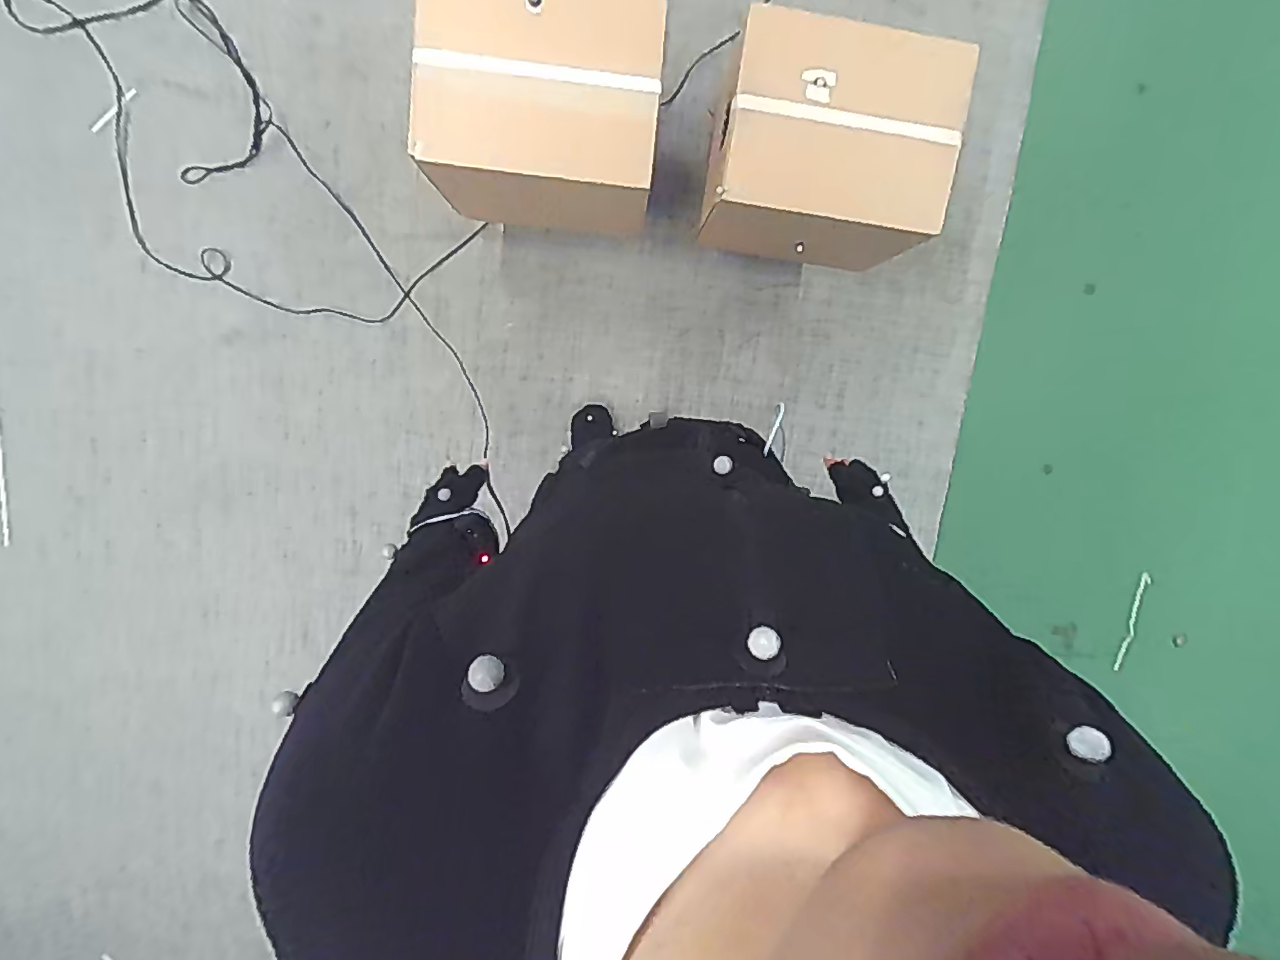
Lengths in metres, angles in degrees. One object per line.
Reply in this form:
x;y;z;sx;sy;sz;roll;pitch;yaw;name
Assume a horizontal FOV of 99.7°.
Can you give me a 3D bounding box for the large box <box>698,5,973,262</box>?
0.354;-0.652;1.088;0.408;0.320;0.320;8;99;-4;large box
